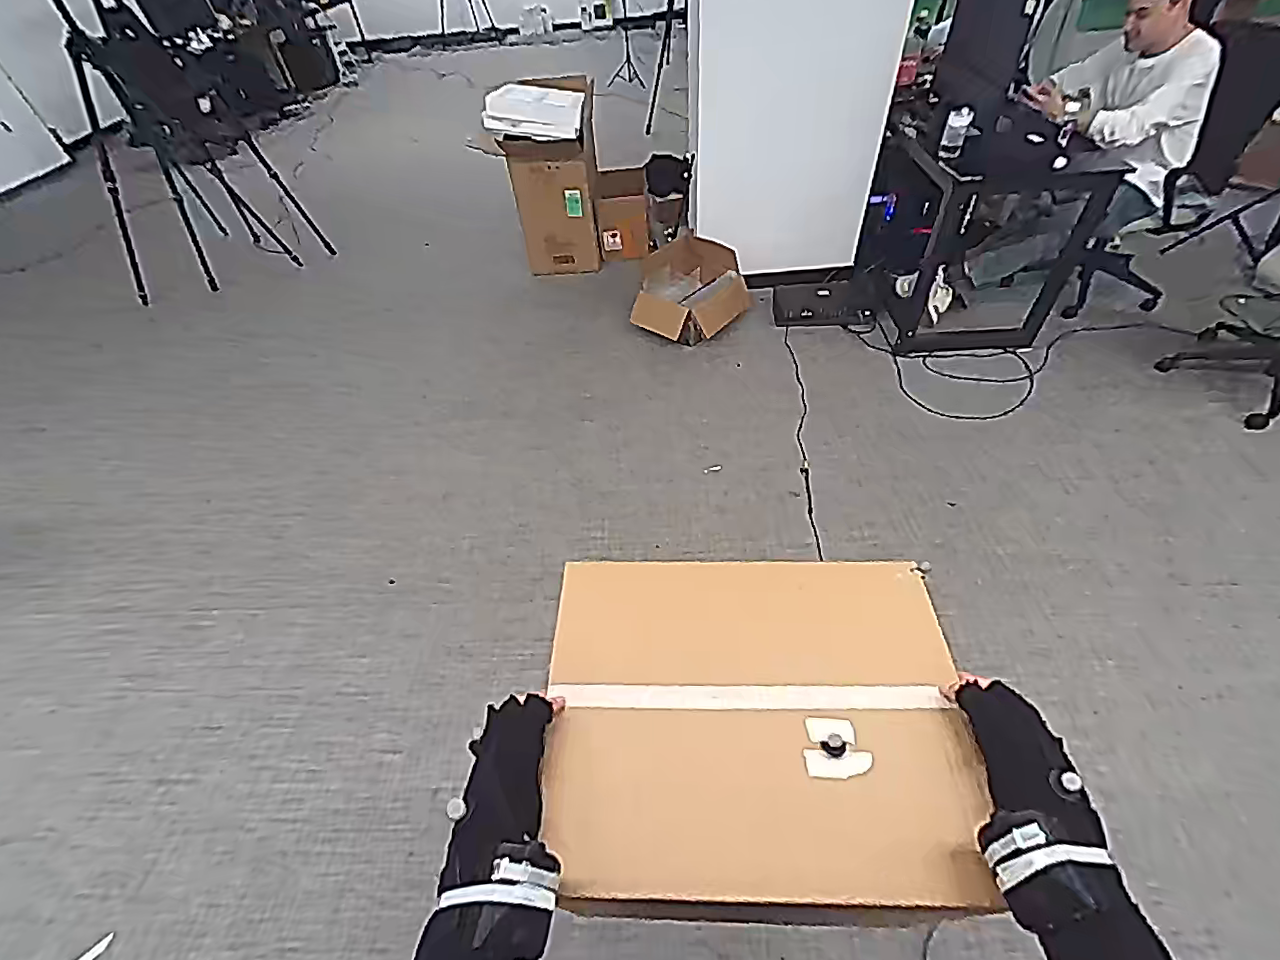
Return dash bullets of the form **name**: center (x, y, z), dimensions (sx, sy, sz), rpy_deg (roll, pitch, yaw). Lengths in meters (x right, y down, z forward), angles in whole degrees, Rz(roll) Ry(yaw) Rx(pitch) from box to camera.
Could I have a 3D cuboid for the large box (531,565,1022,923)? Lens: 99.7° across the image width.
- **large box**: center (0.112, 0.316, 0.641), dimensions (0.408, 0.320, 0.320), rpy_deg (0, 48, 2)
